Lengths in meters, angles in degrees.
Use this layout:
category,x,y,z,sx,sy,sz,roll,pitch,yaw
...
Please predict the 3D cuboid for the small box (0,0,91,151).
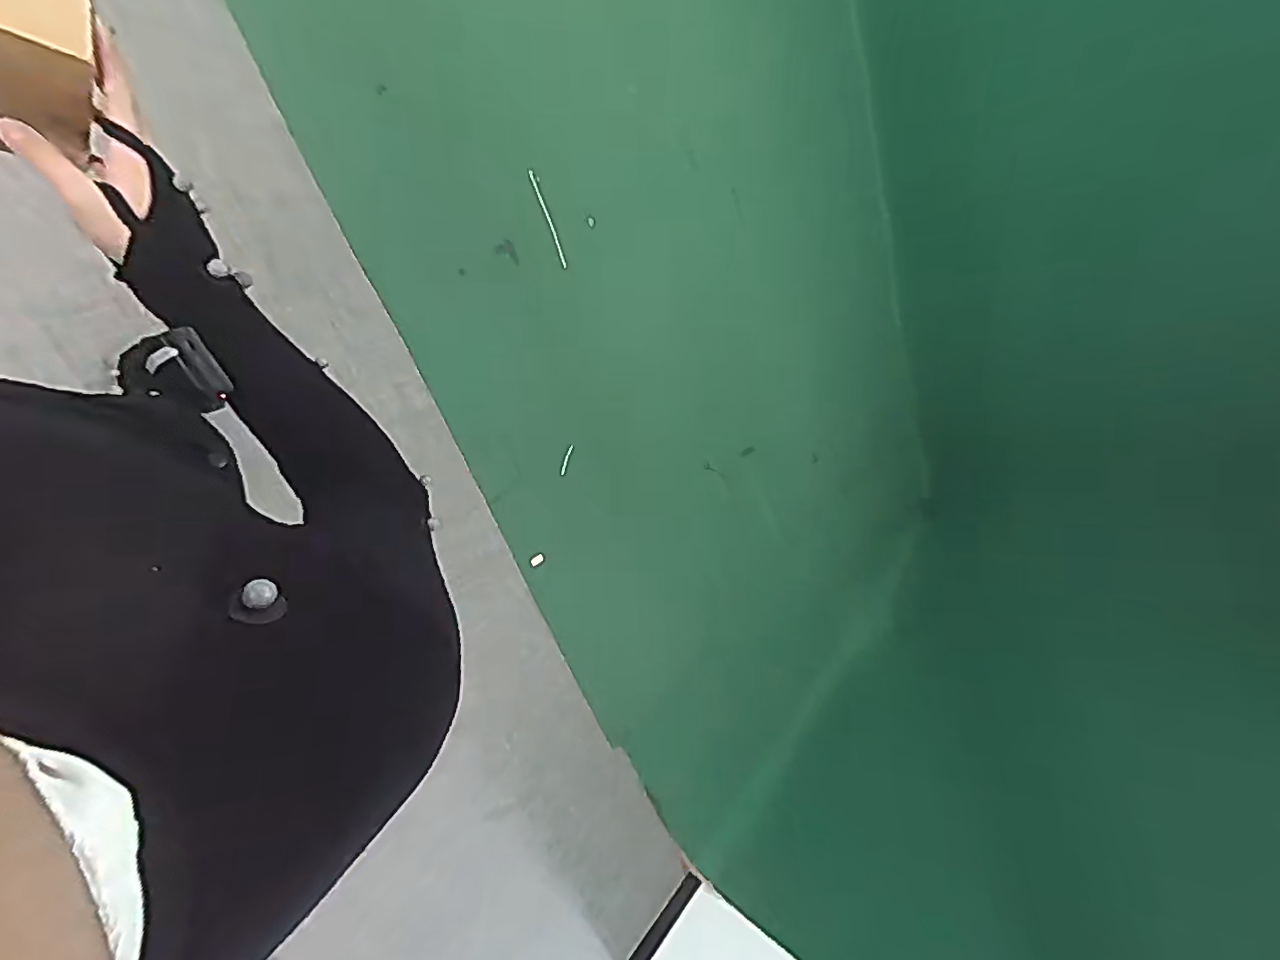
category,x,y,z,sx,sy,sz,roll,pitch,yaw
small box,-0.492,-0.371,0.361,0.168,0.176,0.179,-3,89,-47
